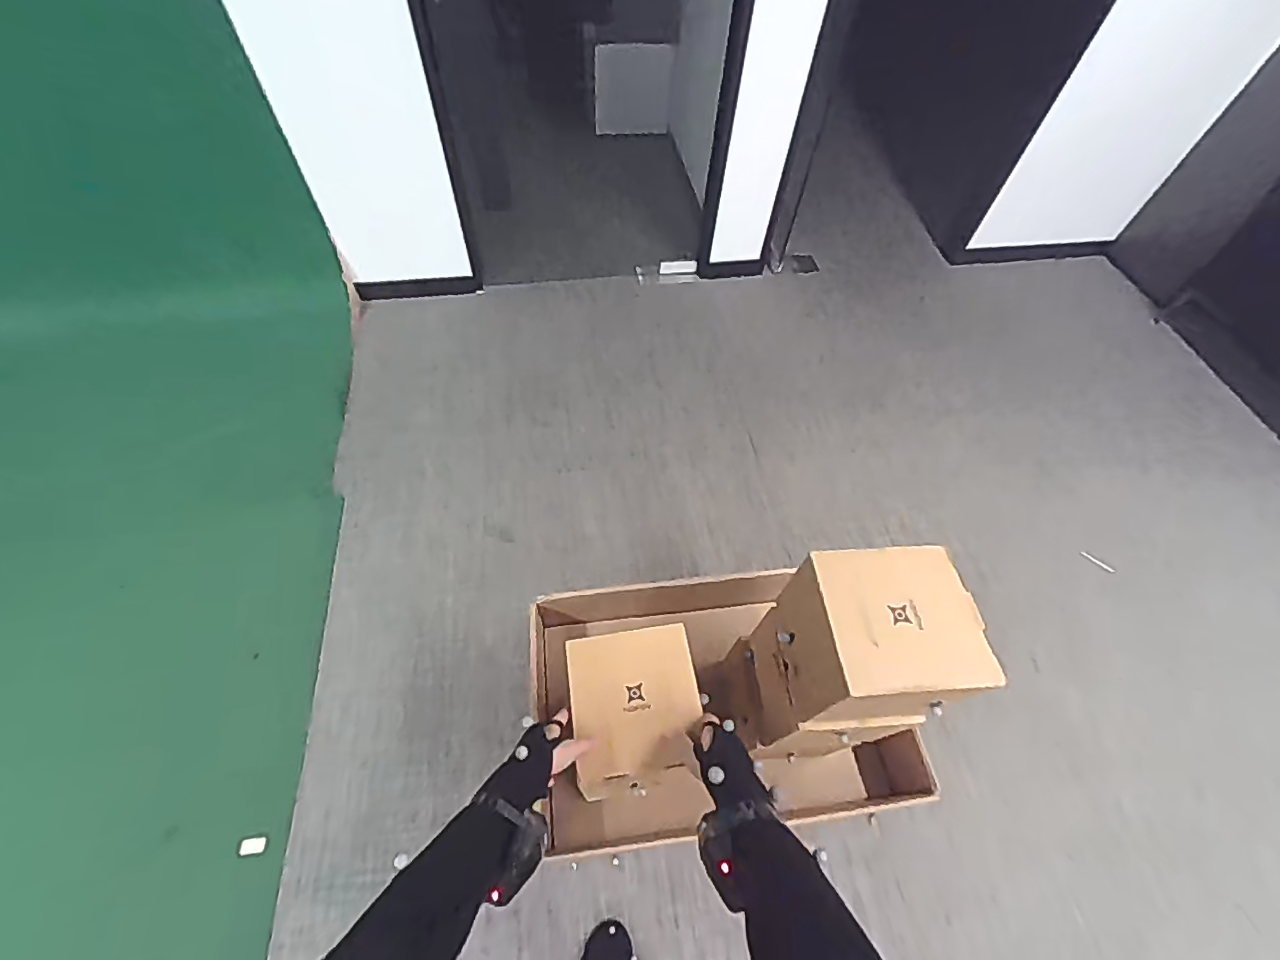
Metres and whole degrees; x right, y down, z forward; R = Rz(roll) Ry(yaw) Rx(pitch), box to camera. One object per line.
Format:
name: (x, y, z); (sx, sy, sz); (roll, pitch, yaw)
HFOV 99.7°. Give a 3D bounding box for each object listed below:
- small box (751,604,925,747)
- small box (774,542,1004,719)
small box: (0.269, 0.286, 0.791); (0.179, 0.176, 0.168); (-1, 57, -5)
small box: (0.283, 0.187, 0.661); (0.179, 0.176, 0.168); (-2, 56, -5)
